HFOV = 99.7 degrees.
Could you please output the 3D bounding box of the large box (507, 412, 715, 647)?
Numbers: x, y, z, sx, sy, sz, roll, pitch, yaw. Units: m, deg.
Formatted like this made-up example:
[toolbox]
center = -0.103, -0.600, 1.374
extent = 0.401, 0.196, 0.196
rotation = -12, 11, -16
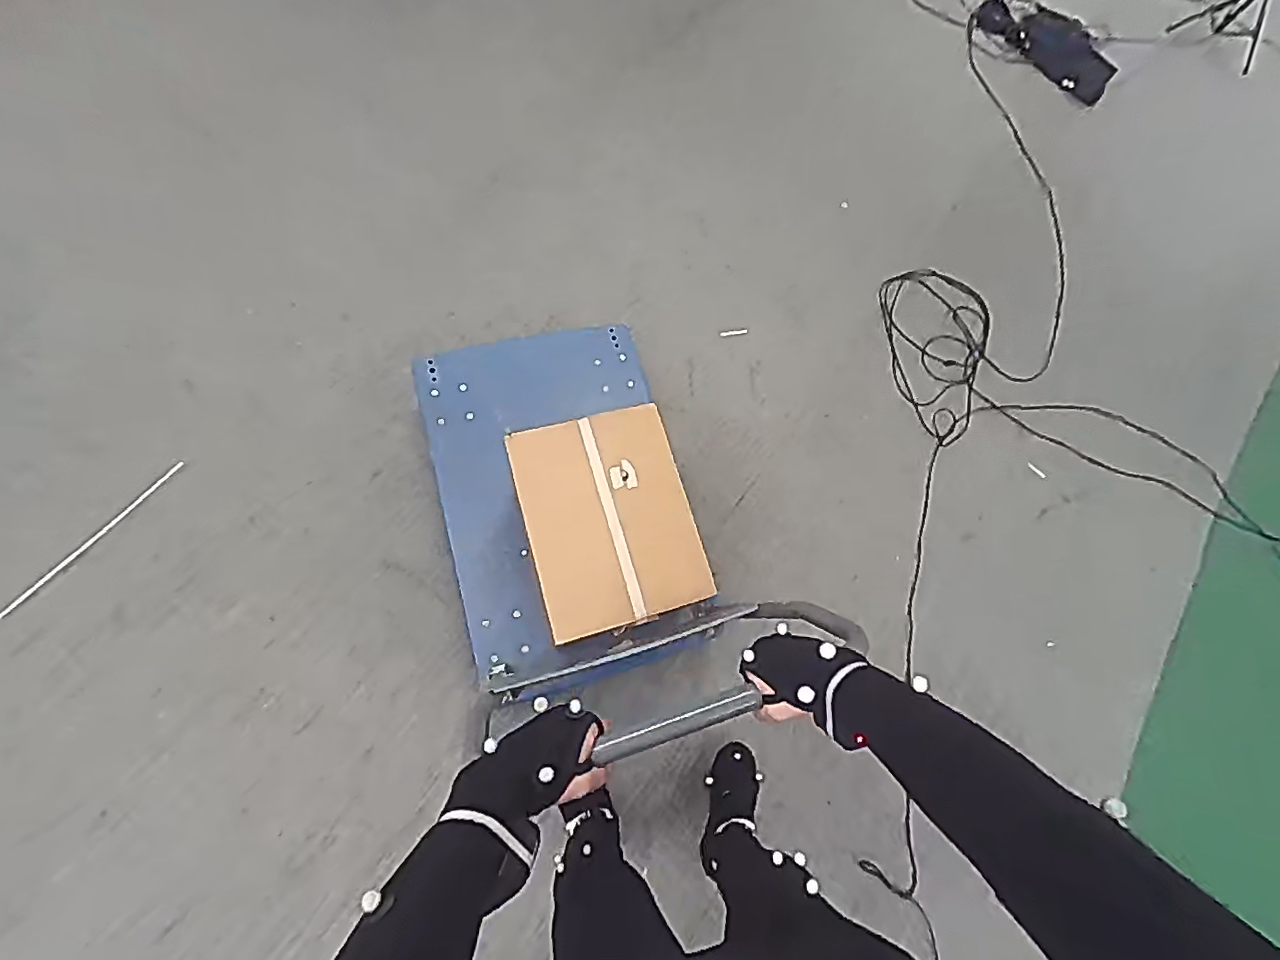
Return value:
[large box]
center = -0.079, 0.120, 1.181
extent = 0.320, 0.320, 0.408
rotation = -14, 76, -14
